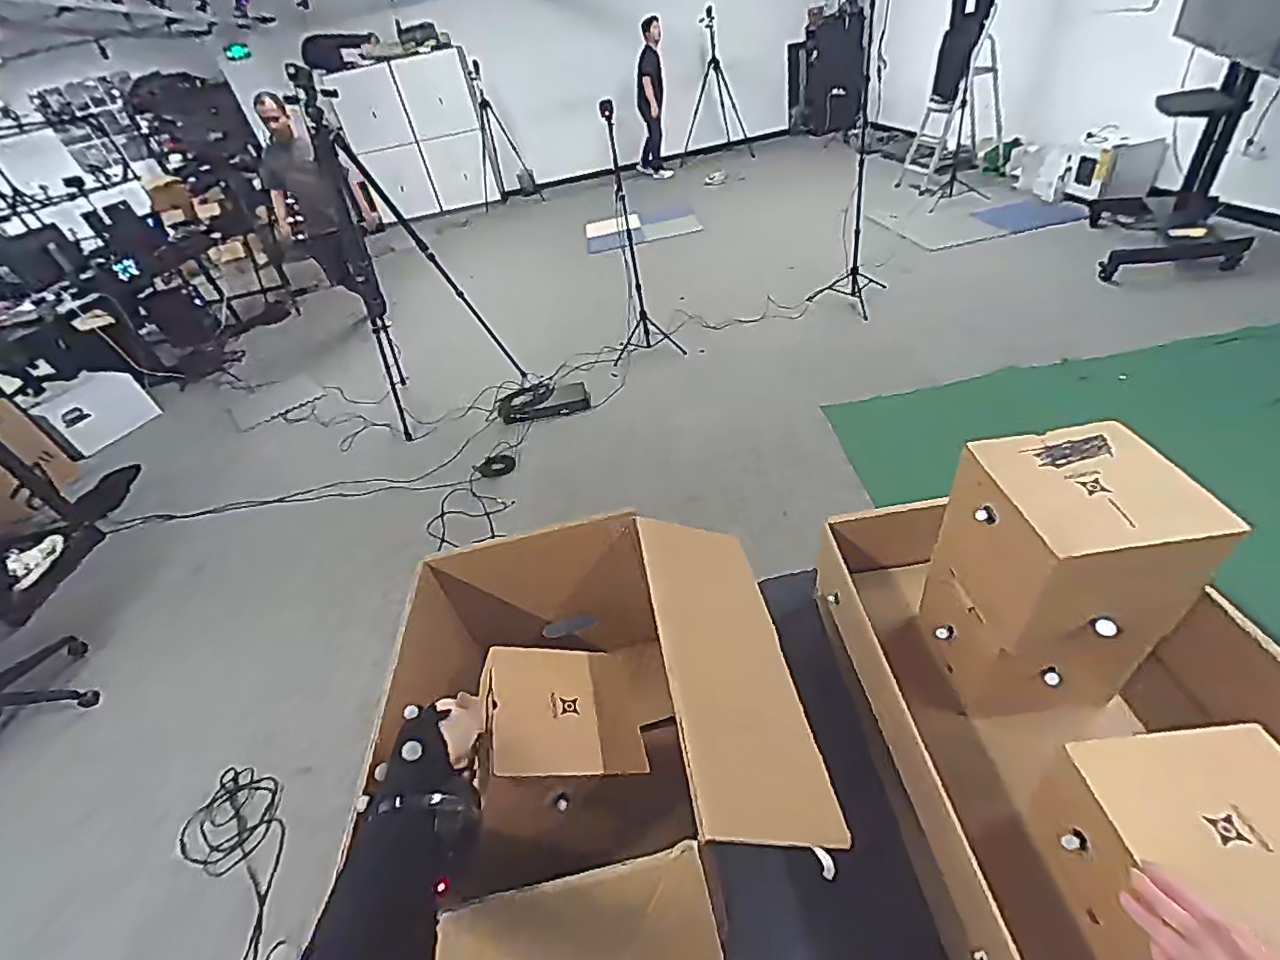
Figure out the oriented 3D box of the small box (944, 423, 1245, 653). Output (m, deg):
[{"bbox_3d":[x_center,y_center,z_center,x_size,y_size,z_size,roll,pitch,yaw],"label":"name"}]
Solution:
[{"bbox_3d":[0.467,0.064,0.599,0.168,0.176,0.179,-9,41,5],"label":"small box"}]
